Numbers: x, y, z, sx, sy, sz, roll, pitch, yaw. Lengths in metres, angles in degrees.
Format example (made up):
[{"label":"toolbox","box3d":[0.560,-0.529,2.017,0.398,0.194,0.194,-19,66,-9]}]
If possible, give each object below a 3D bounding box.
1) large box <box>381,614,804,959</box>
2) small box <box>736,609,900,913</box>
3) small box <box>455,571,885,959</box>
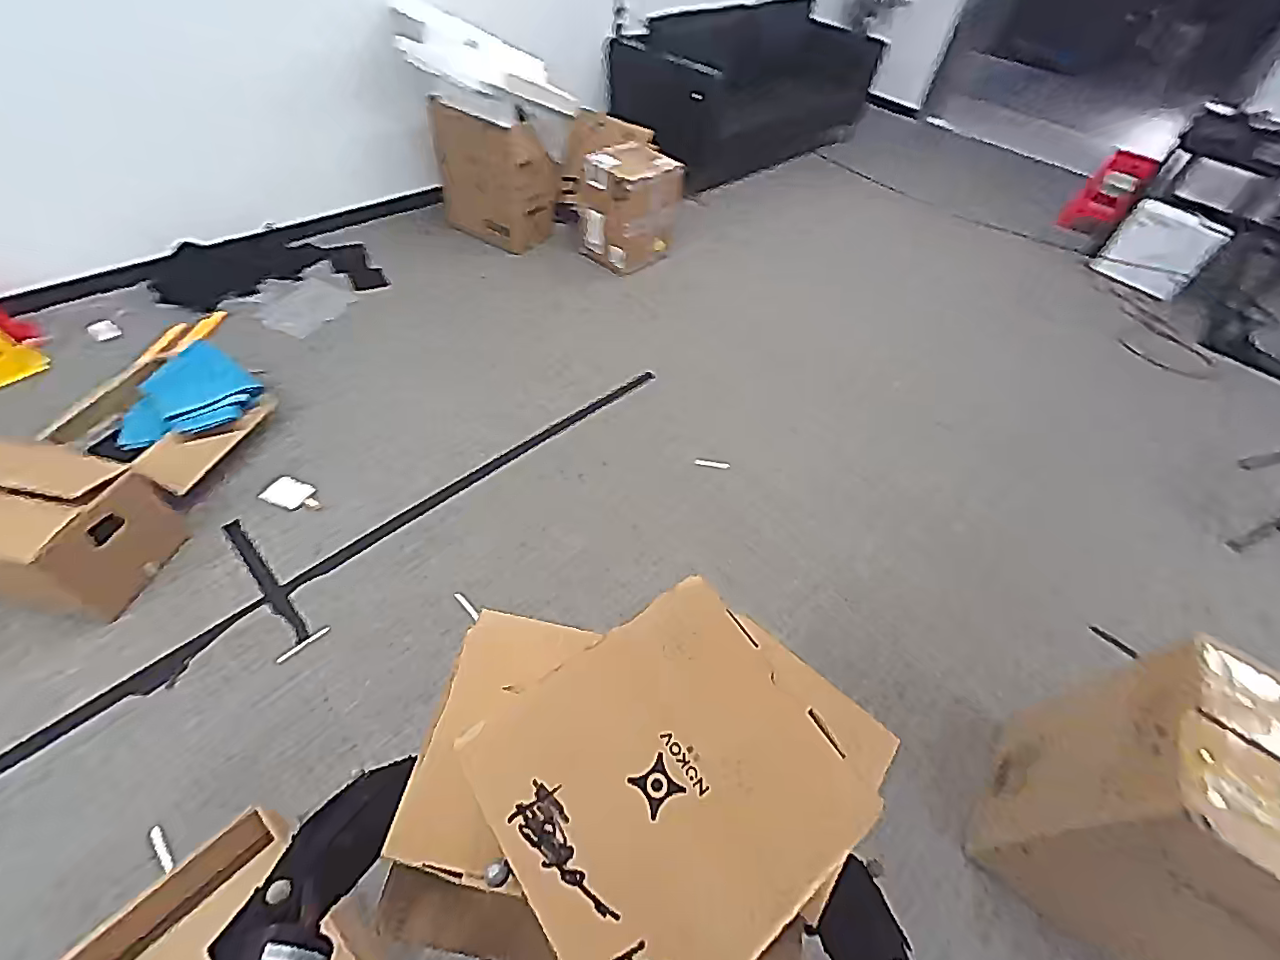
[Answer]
[{"label":"large box","box3d":[-0.044,0.402,0.698,0.408,0.320,0.320,12,57,-2]},{"label":"small box","box3d":[0.099,0.262,0.516,0.179,0.176,0.168,37,59,15]},{"label":"small box","box3d":[0.007,0.194,0.350,0.179,0.176,0.168,-30,66,-24]}]
